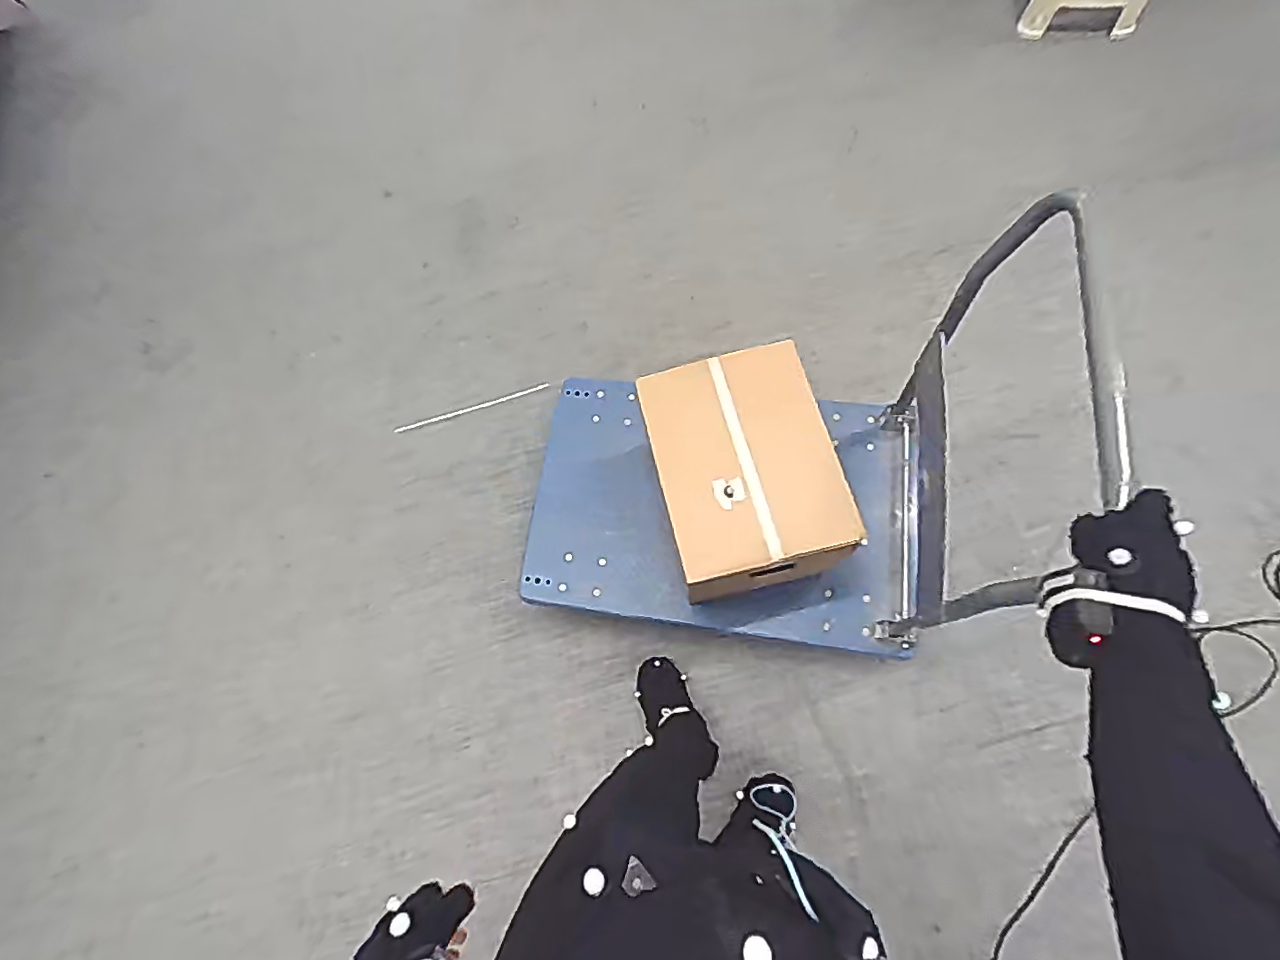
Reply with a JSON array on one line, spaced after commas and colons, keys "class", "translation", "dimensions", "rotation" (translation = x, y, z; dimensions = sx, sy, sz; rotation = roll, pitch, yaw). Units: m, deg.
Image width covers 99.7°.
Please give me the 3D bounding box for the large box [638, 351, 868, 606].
[{"class": "large box", "translation": [0.203, 0.013, 1.119], "dimensions": [0.320, 0.320, 0.408], "rotation": [-15, 70, 1]}]
